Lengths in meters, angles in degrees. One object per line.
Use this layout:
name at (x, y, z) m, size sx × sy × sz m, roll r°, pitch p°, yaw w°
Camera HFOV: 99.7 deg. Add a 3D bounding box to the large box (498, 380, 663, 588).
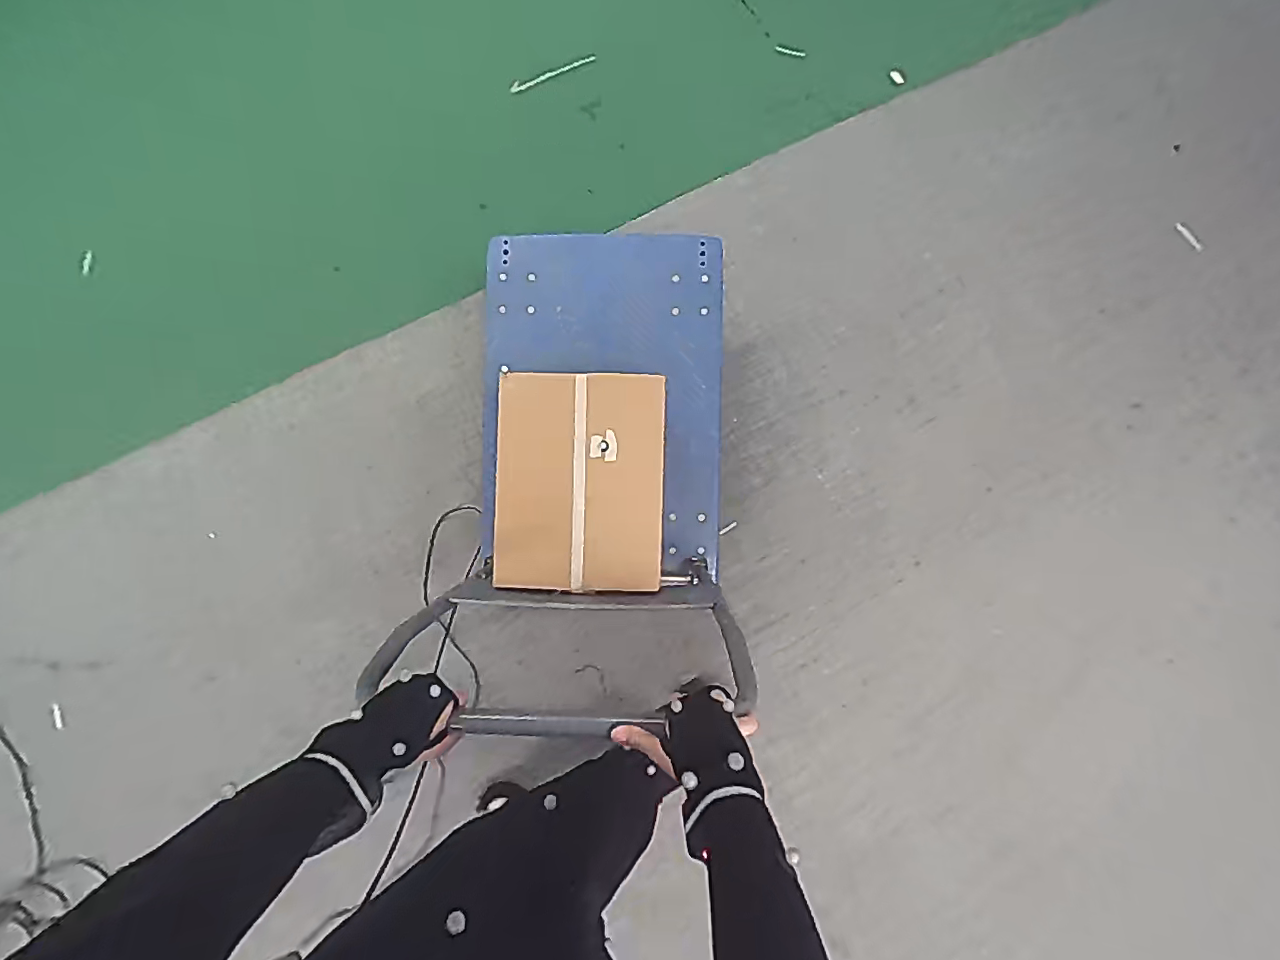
large box at (-0.111, 0.014, 1.177) m, size 0.320 × 0.320 × 0.408 m, roll 1°, pitch 88°, yaw 0°
